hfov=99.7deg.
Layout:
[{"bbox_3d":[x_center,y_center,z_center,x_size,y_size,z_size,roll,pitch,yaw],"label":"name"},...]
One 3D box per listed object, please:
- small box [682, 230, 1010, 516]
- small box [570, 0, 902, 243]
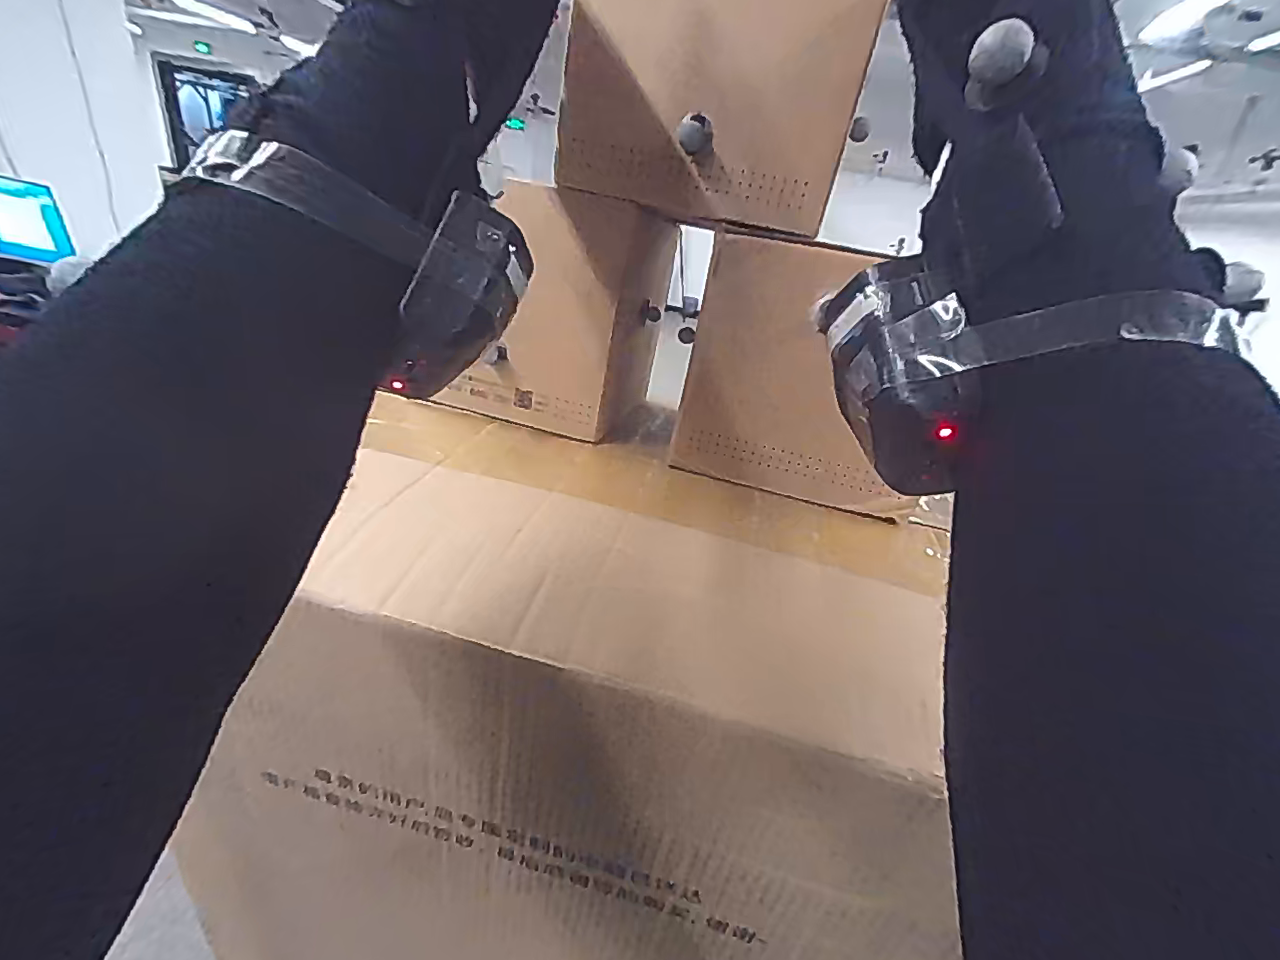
[{"bbox_3d":[0.140,-0.089,0.432,0.179,0.176,0.168,15,24,7],"label":"small box"},{"bbox_3d":[0.066,-0.267,0.386,0.179,0.176,0.168,16,22,8],"label":"small box"}]
